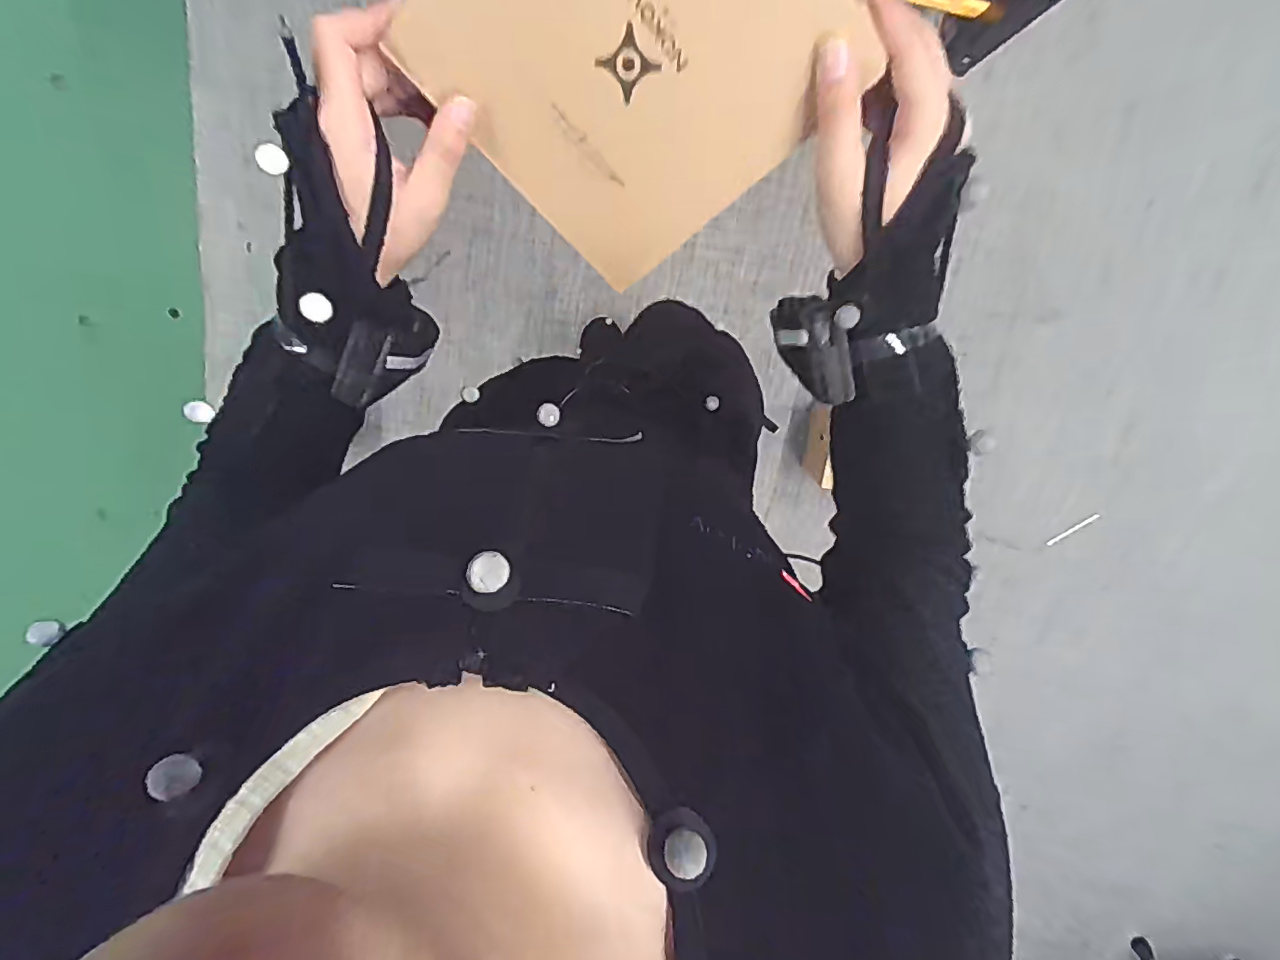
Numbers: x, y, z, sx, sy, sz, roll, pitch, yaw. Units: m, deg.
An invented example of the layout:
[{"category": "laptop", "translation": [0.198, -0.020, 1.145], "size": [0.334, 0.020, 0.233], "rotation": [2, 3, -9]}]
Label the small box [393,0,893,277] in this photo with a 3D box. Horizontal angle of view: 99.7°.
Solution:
[{"category": "small box", "translation": [0.003, -0.262, 0.302], "size": [0.179, 0.176, 0.168], "rotation": [-31, 128, 33]}]

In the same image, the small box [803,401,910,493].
[{"category": "small box", "translation": [0.493, -0.083, 1.262], "size": [0.168, 0.176, 0.179], "rotation": [6, 106, -1]}]

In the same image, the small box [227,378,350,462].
[{"category": "small box", "translation": [-0.799, -0.144, 1.254], "size": [0.179, 0.176, 0.168], "rotation": [1, 107, 1]}]
